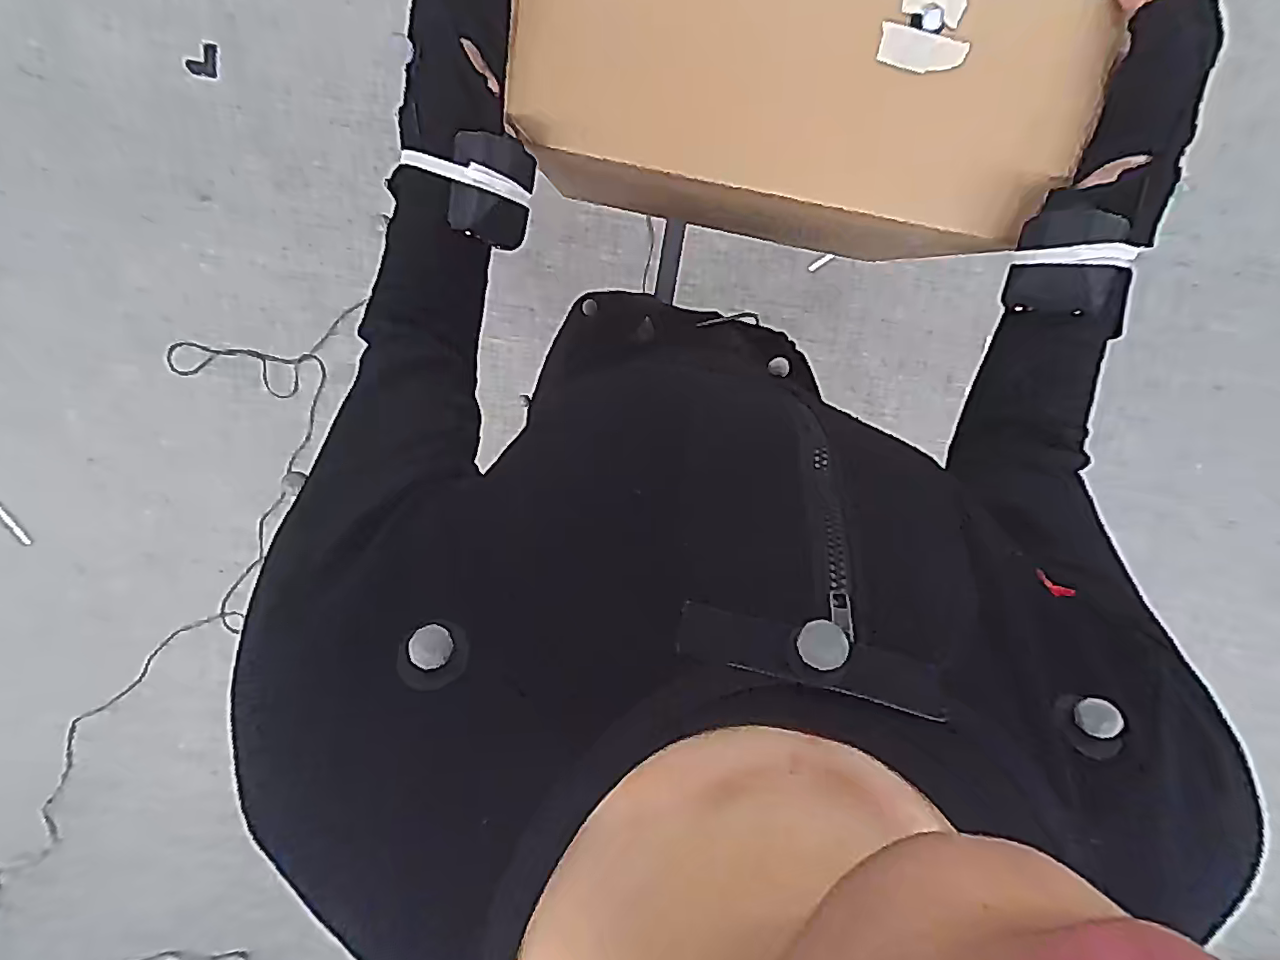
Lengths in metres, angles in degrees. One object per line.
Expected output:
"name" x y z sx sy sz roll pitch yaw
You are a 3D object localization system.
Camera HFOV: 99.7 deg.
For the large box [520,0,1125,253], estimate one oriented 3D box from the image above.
"large box" 0.127 -0.406 0.488 0.408 0.320 0.320 9 111 -5
